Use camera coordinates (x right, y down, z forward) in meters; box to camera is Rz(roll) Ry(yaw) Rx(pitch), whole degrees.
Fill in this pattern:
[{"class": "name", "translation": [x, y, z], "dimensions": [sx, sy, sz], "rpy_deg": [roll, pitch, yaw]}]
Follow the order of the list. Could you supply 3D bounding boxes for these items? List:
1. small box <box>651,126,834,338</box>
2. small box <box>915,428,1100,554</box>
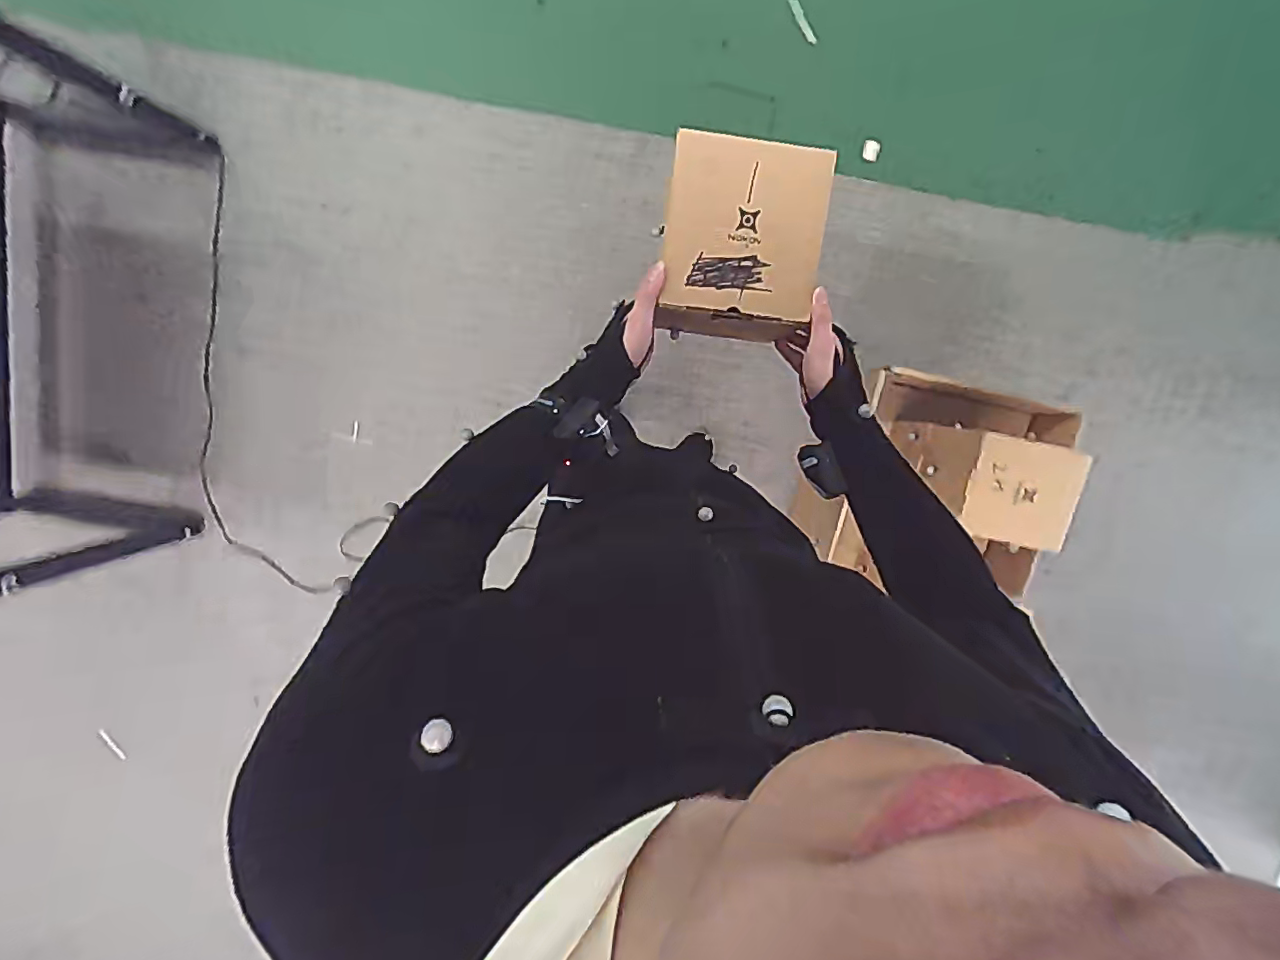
[{"class": "small box", "translation": [0.103, -0.268, 0.628], "dimensions": [0.168, 0.176, 0.179], "rpy_deg": [6, 96, -3]}, {"class": "small box", "translation": [0.615, 0.010, 0.929], "dimensions": [0.179, 0.176, 0.168], "rpy_deg": [13, 99, 0]}]
